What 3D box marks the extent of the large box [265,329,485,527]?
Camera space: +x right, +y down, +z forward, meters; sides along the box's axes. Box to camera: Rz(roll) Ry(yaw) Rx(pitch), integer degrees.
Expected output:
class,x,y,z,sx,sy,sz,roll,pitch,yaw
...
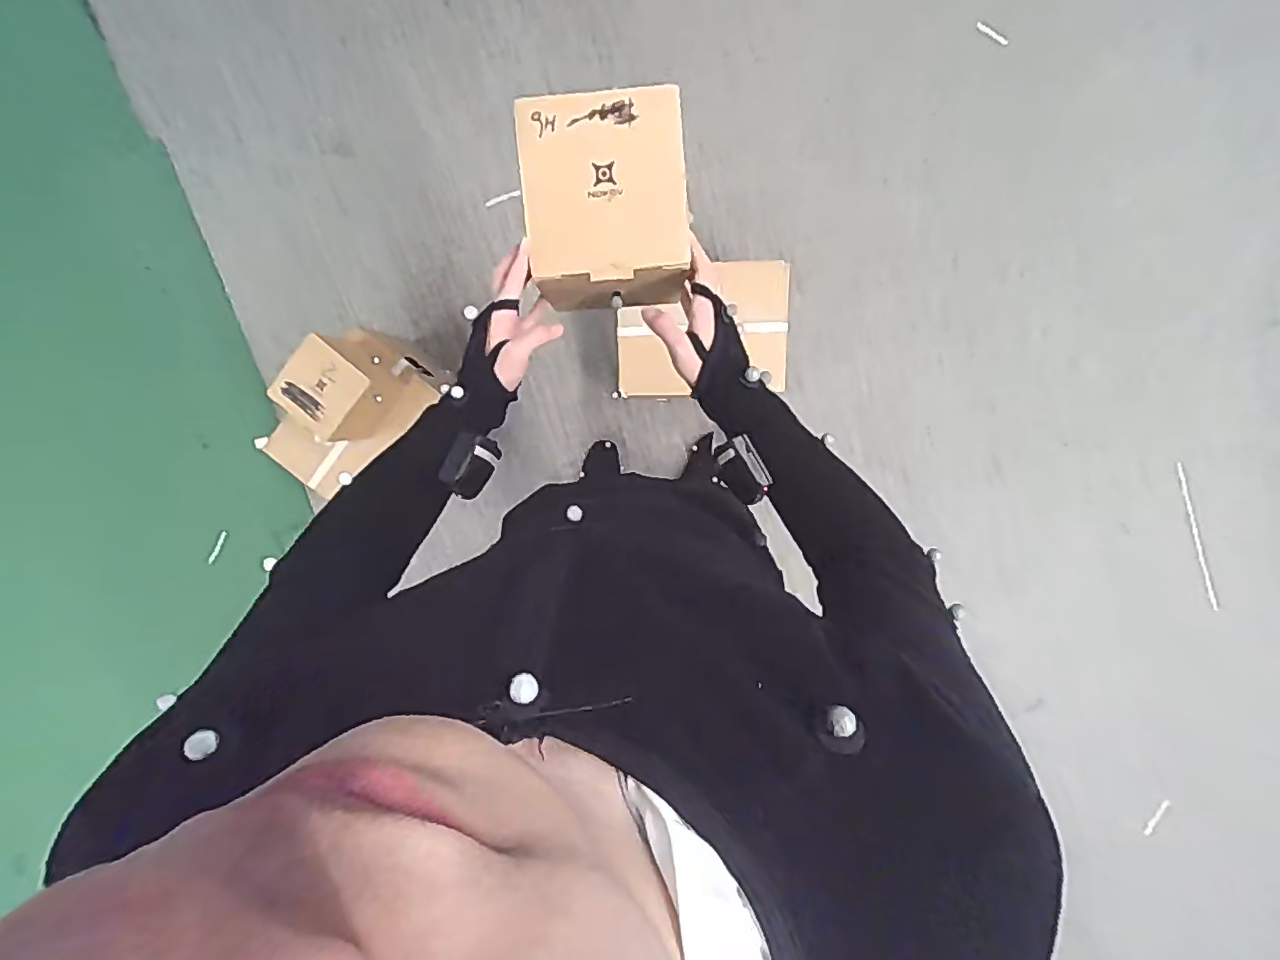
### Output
class,x,y,z,sx,sy,sz,roll,pitch,yaw
large box,-0.698,-0.145,1.487,0.320,0.320,0.408,39,97,-3

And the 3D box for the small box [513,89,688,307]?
class,x,y,z,sx,sy,sz,roll,pitch,yaw
small box,-0.037,-0.301,0.617,0.168,0.176,0.179,-5,97,0
